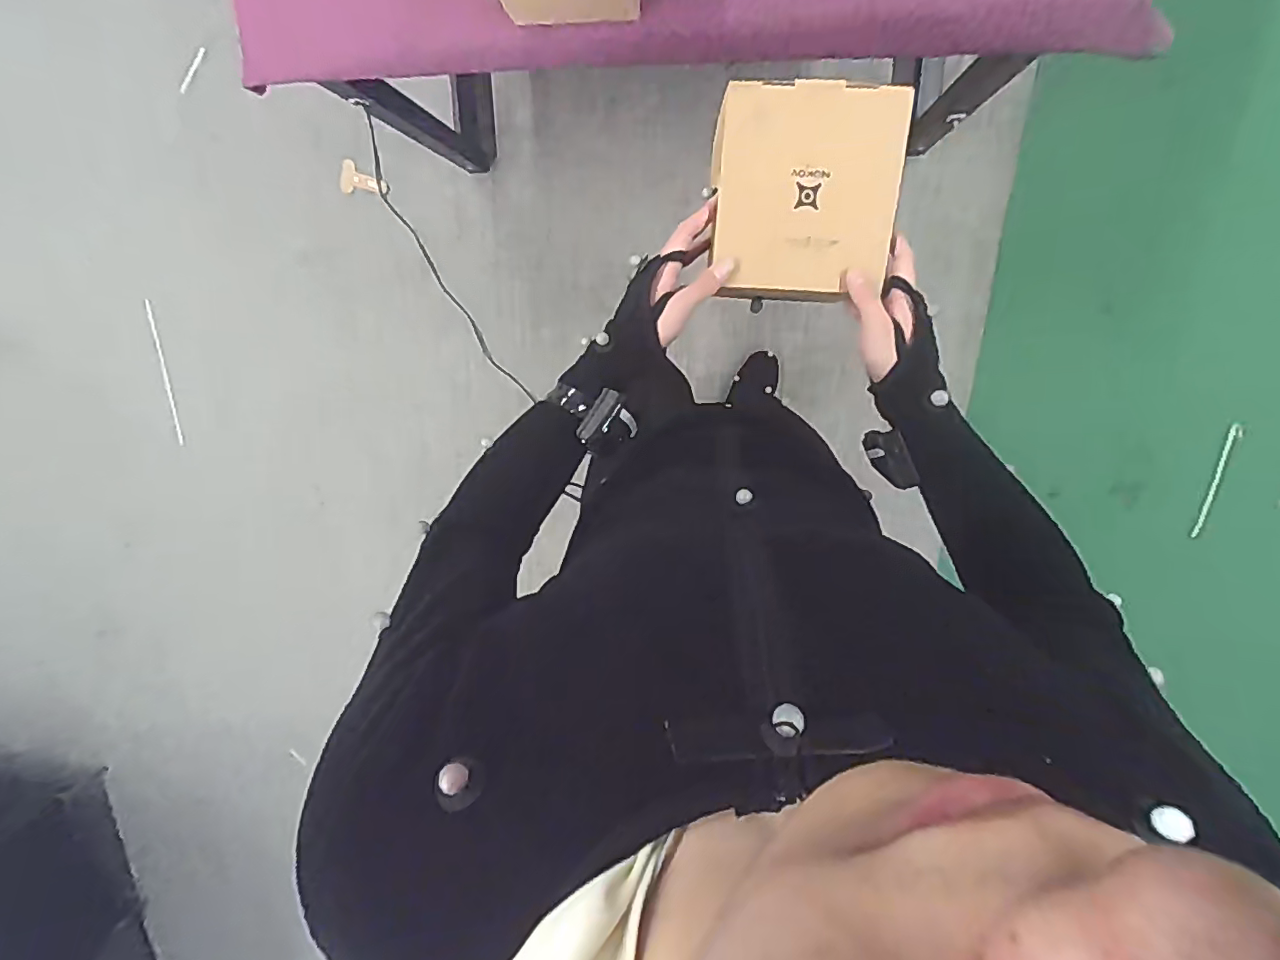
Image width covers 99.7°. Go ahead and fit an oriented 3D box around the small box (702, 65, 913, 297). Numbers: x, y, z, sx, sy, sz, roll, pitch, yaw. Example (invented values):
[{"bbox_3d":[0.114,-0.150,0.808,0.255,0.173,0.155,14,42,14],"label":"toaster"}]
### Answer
[{"bbox_3d":[0.157,-0.296,0.571,0.168,0.176,0.179,4,106,3],"label":"small box"}]
